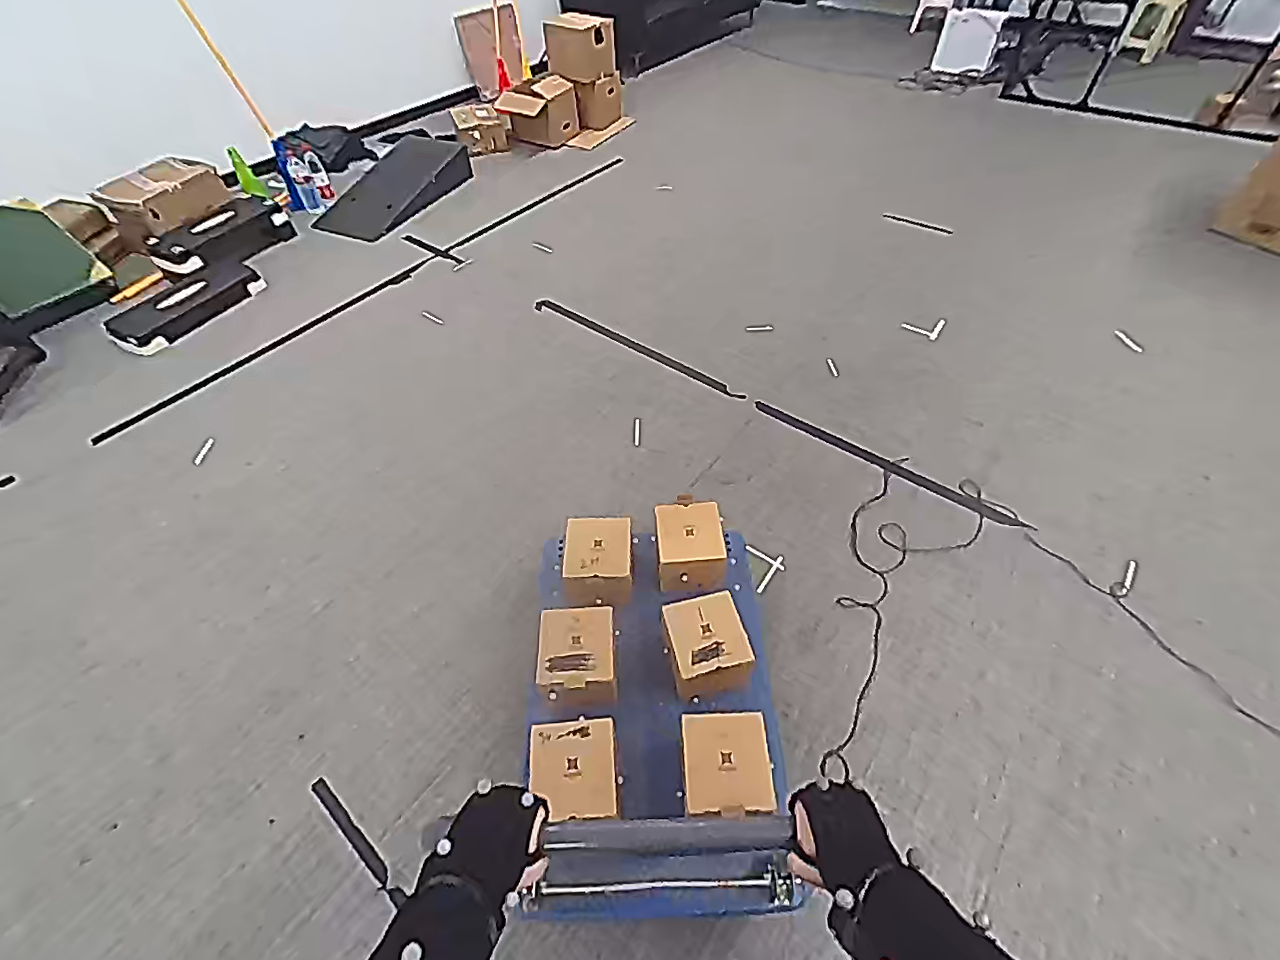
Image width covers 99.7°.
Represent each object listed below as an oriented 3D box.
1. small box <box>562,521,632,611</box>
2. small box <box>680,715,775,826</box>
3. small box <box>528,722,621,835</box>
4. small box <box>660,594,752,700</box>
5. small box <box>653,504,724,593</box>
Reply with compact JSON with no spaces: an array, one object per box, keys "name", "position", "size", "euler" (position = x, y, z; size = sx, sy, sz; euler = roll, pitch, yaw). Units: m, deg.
[{"name":"small box","position":[-0.107,0.225,1.415],"size":[0.168,0.176,0.179],"euler":[-1,52,1]},{"name":"small box","position":[0.169,0.596,1.104],"size":[0.168,0.176,0.179],"euler":[-2,50,0]},{"name":"small box","position":[-0.128,0.612,1.100],"size":[0.168,0.176,0.179],"euler":[-5,51,-3]},{"name":"small box","position":[0.148,0.397,1.267],"size":[0.168,0.176,0.179],"euler":[-11,50,-7]},{"name":"small box","position":[0.124,0.188,1.440],"size":[0.168,0.176,0.179],"euler":[-5,50,-2]}]
